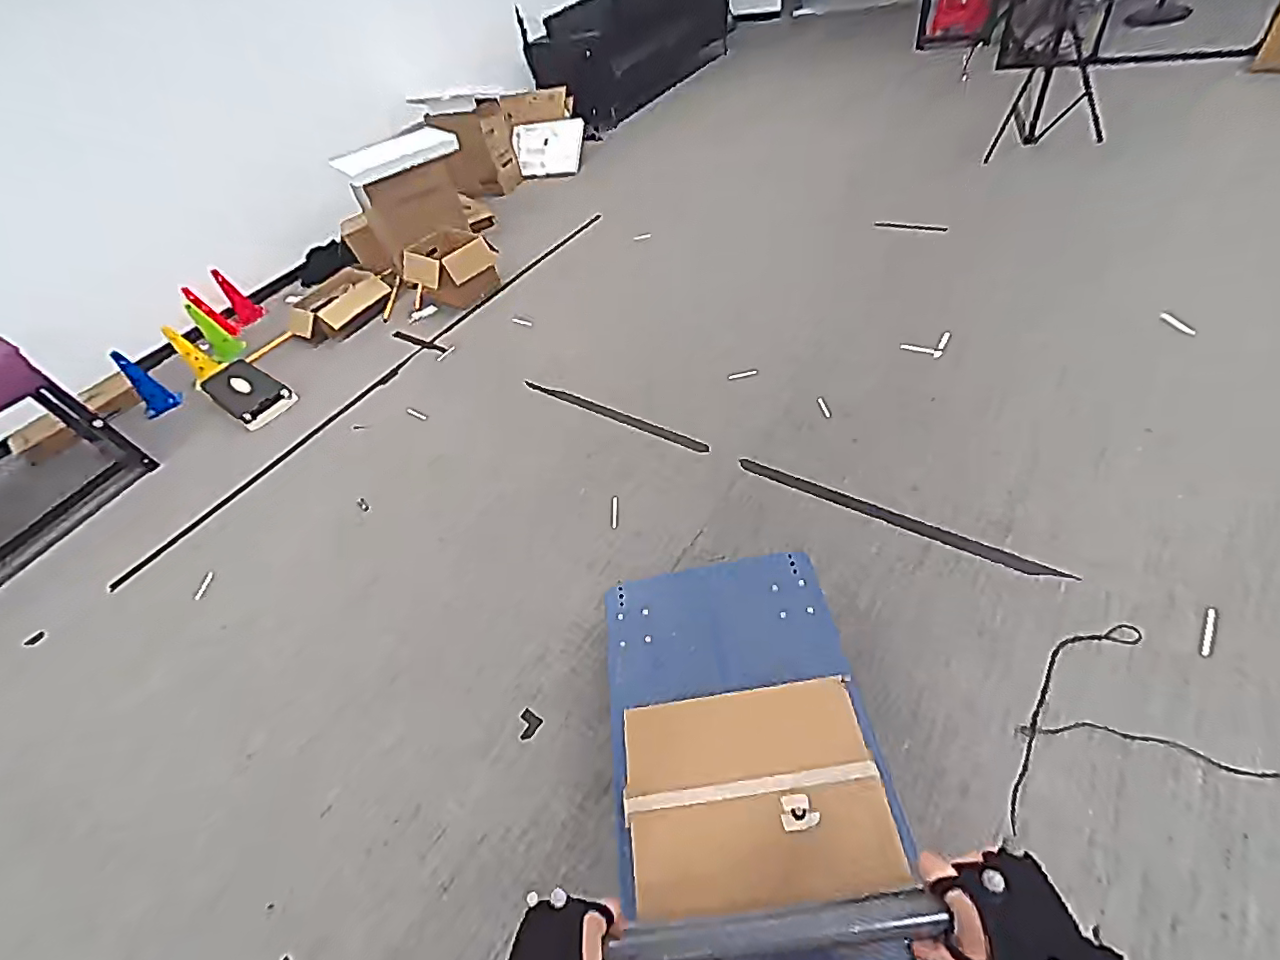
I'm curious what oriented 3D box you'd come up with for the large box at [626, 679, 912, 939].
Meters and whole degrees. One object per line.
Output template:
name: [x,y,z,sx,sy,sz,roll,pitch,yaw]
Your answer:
large box: [0.206,0.607,0.991,0.408,0.320,0.320,-11,47,4]
